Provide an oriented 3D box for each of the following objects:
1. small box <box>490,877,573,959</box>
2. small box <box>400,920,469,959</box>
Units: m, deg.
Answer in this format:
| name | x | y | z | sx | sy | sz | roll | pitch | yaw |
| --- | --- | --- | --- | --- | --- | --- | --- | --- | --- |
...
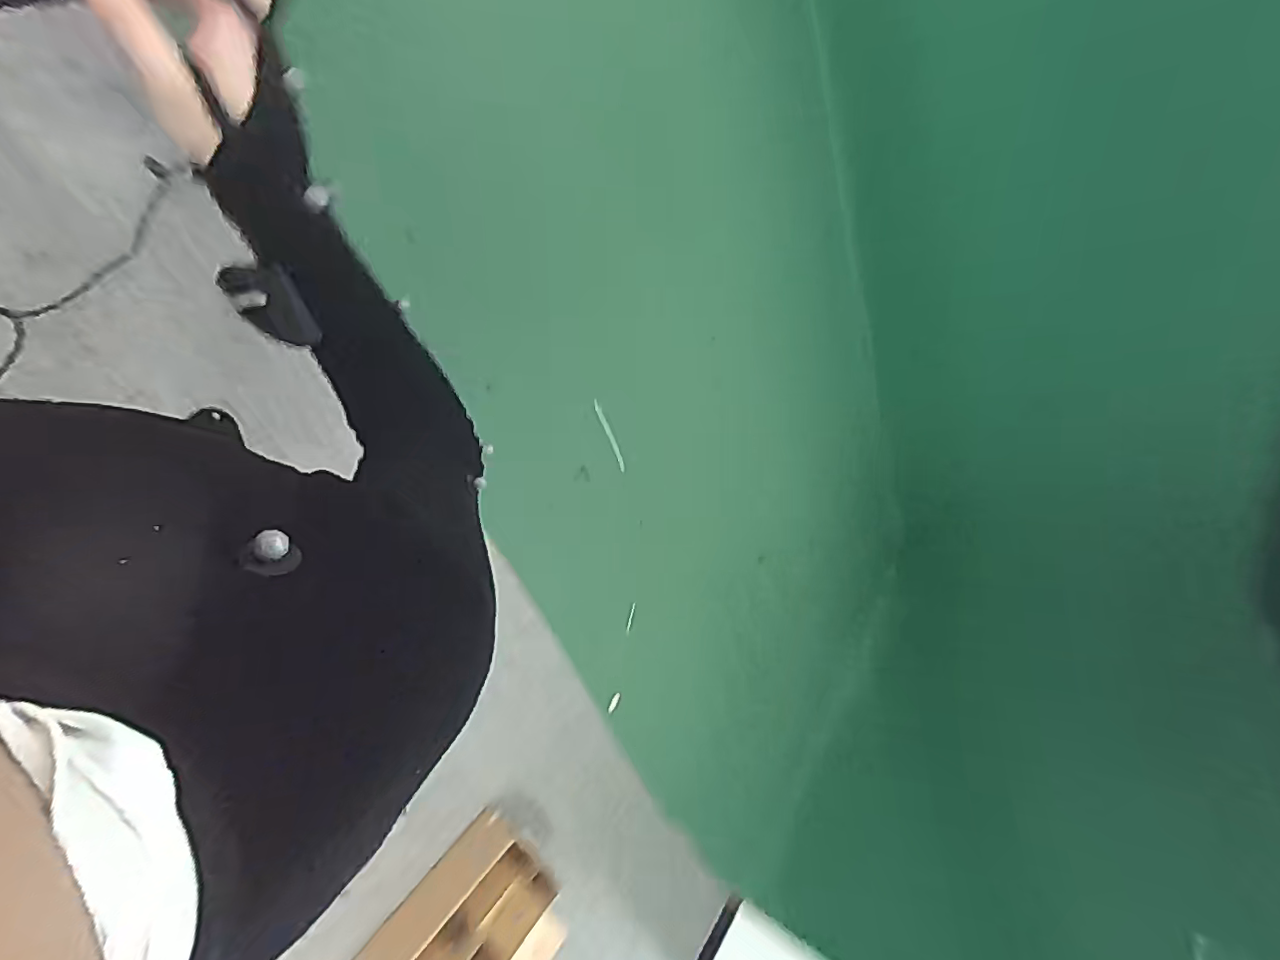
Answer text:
| name | x | y | z | sx | sy | sz | roll | pitch | yaw |
| --- | --- | --- | --- | --- | --- | --- | --- | --- | --- |
| small box | -0.360 | 1.454 | 1.772 | 0.168 | 0.176 | 0.179 | -45 | 124 | -30 |
| small box | -0.653 | 1.578 | 1.727 | 0.179 | 0.176 | 0.168 | -39 | 121 | -35 |
